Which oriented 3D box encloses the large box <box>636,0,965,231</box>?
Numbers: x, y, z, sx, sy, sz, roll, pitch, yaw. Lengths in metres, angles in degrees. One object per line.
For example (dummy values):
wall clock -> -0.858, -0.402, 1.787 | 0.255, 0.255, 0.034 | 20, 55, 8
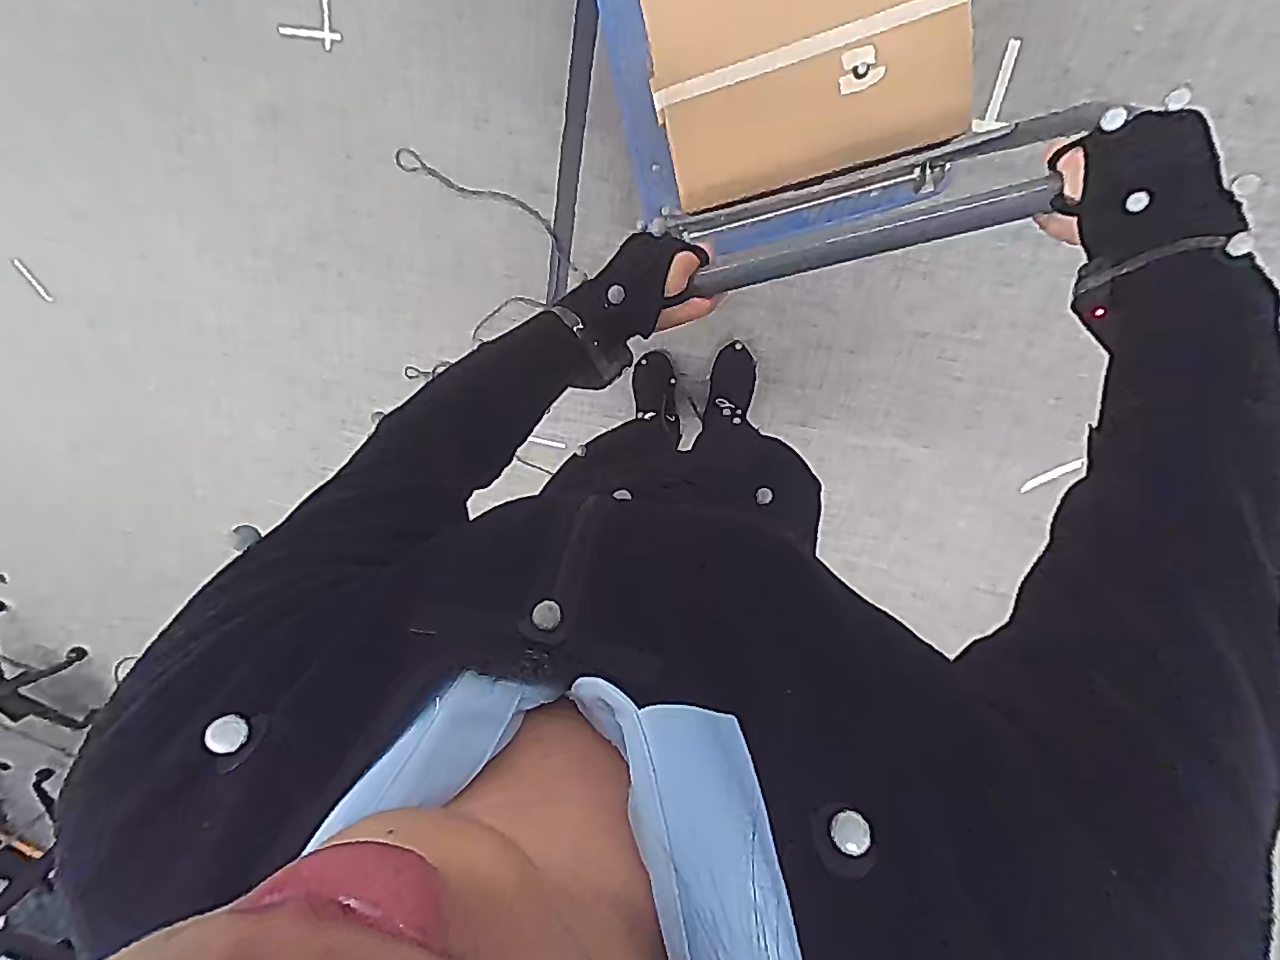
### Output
large box -> 0.238, -0.624, 0.871 | 0.408, 0.320, 0.320 | -10, 111, 12
